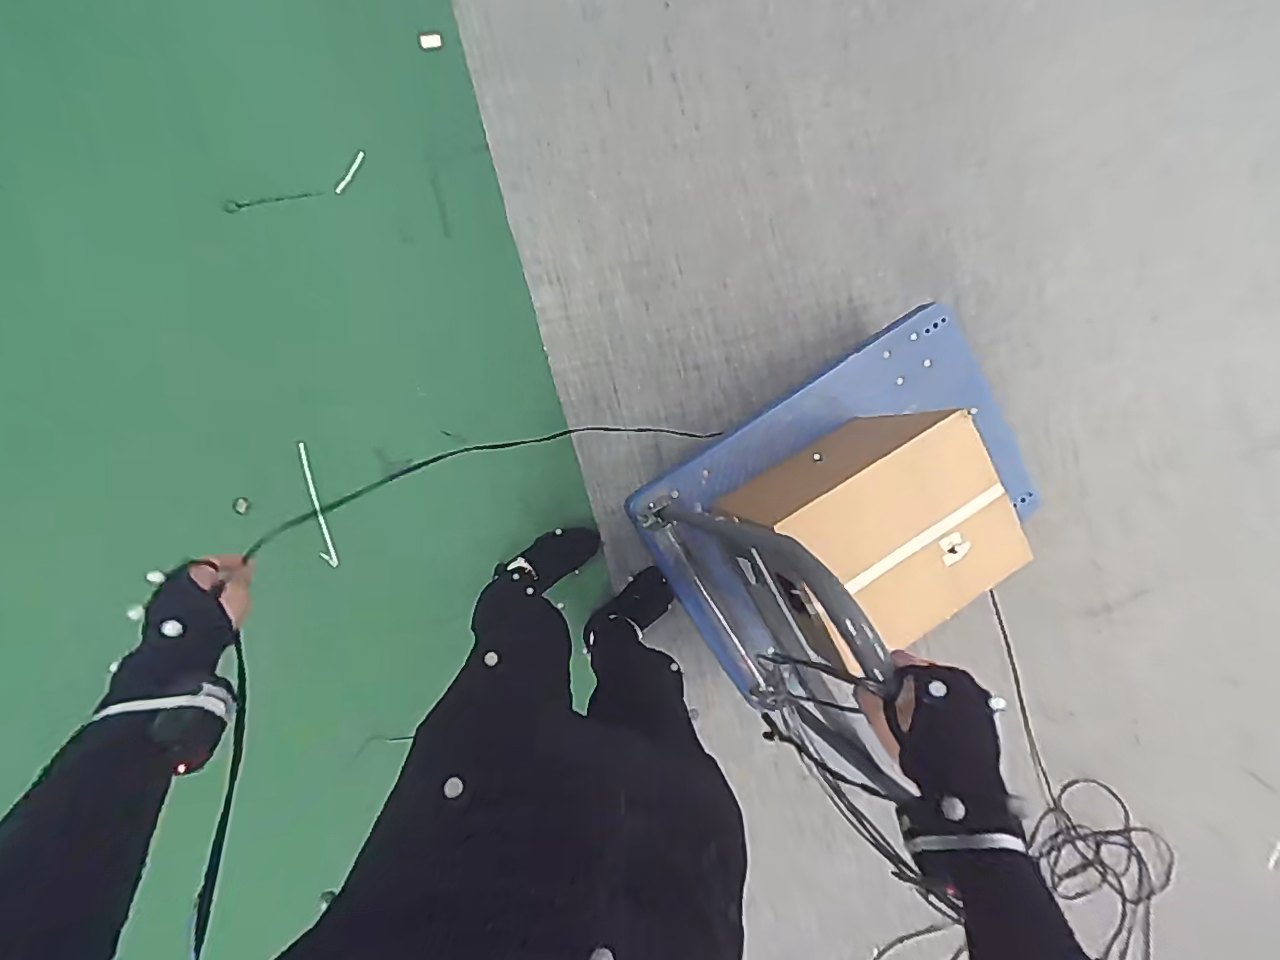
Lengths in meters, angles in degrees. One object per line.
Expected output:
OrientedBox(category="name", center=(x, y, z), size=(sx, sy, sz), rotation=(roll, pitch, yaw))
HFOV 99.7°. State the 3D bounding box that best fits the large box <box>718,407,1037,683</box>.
OrientedBox(category="large box", center=(0.430, 0.102, 1.045), size=(0.408, 0.320, 0.320), rotation=(-31, 99, -9))
